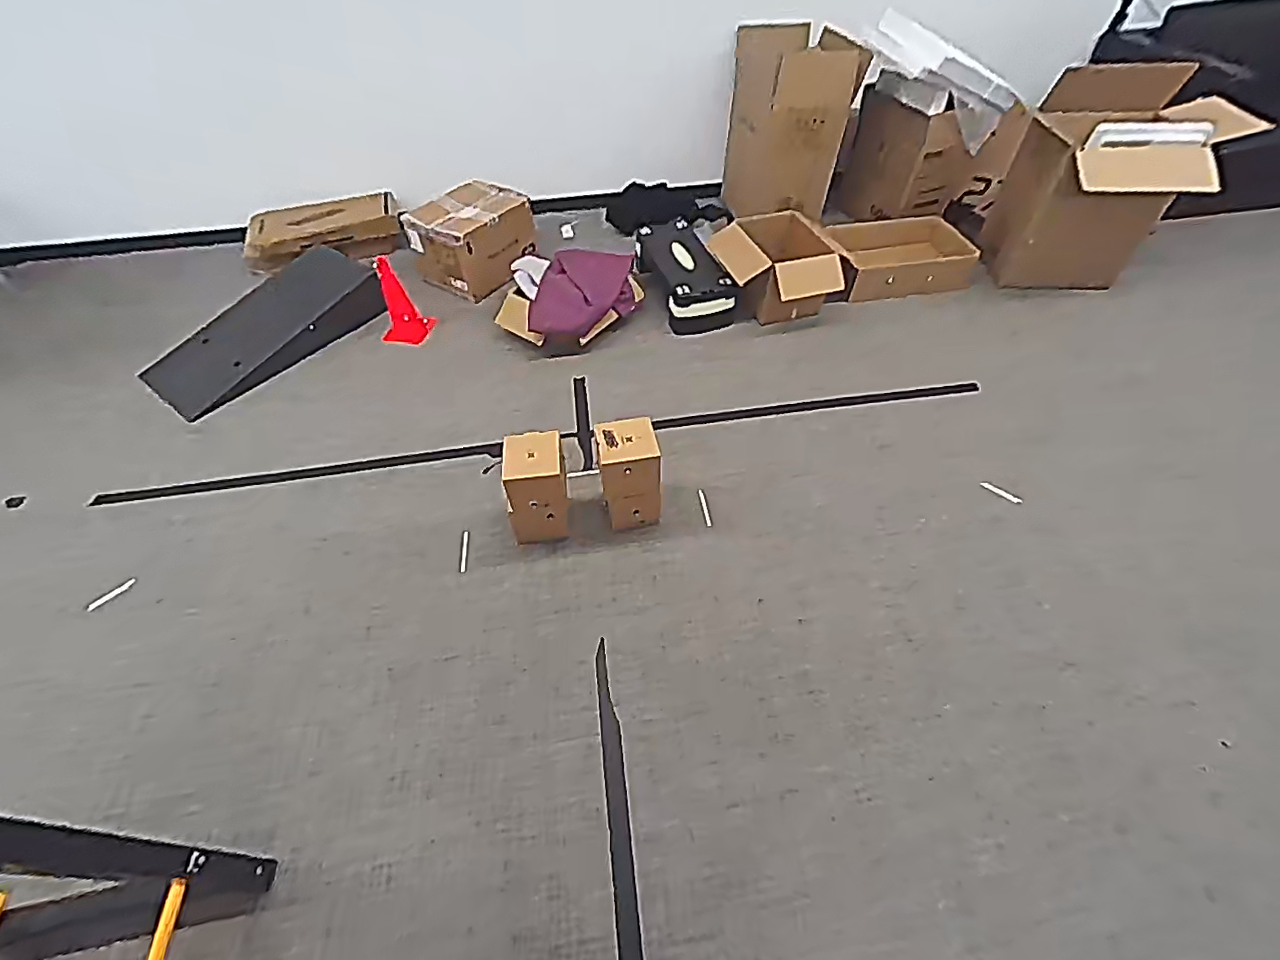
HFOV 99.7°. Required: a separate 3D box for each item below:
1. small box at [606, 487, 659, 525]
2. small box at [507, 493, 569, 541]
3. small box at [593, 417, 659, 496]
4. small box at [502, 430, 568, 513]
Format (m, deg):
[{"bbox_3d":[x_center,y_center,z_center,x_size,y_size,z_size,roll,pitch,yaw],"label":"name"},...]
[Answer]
[{"bbox_3d":[-0.031,0.034,1.775,0.168,0.176,0.179,-9,52,-6],"label":"small box"},{"bbox_3d":[-0.324,0.078,1.744,0.179,0.176,0.168,-7,50,-3],"label":"small box"},{"bbox_3d":[-0.040,-0.067,1.644,0.179,0.176,0.168,-9,51,-7],"label":"small box"},{"bbox_3d":[-0.311,-0.024,1.617,0.168,0.176,0.179,-7,52,-3],"label":"small box"}]
